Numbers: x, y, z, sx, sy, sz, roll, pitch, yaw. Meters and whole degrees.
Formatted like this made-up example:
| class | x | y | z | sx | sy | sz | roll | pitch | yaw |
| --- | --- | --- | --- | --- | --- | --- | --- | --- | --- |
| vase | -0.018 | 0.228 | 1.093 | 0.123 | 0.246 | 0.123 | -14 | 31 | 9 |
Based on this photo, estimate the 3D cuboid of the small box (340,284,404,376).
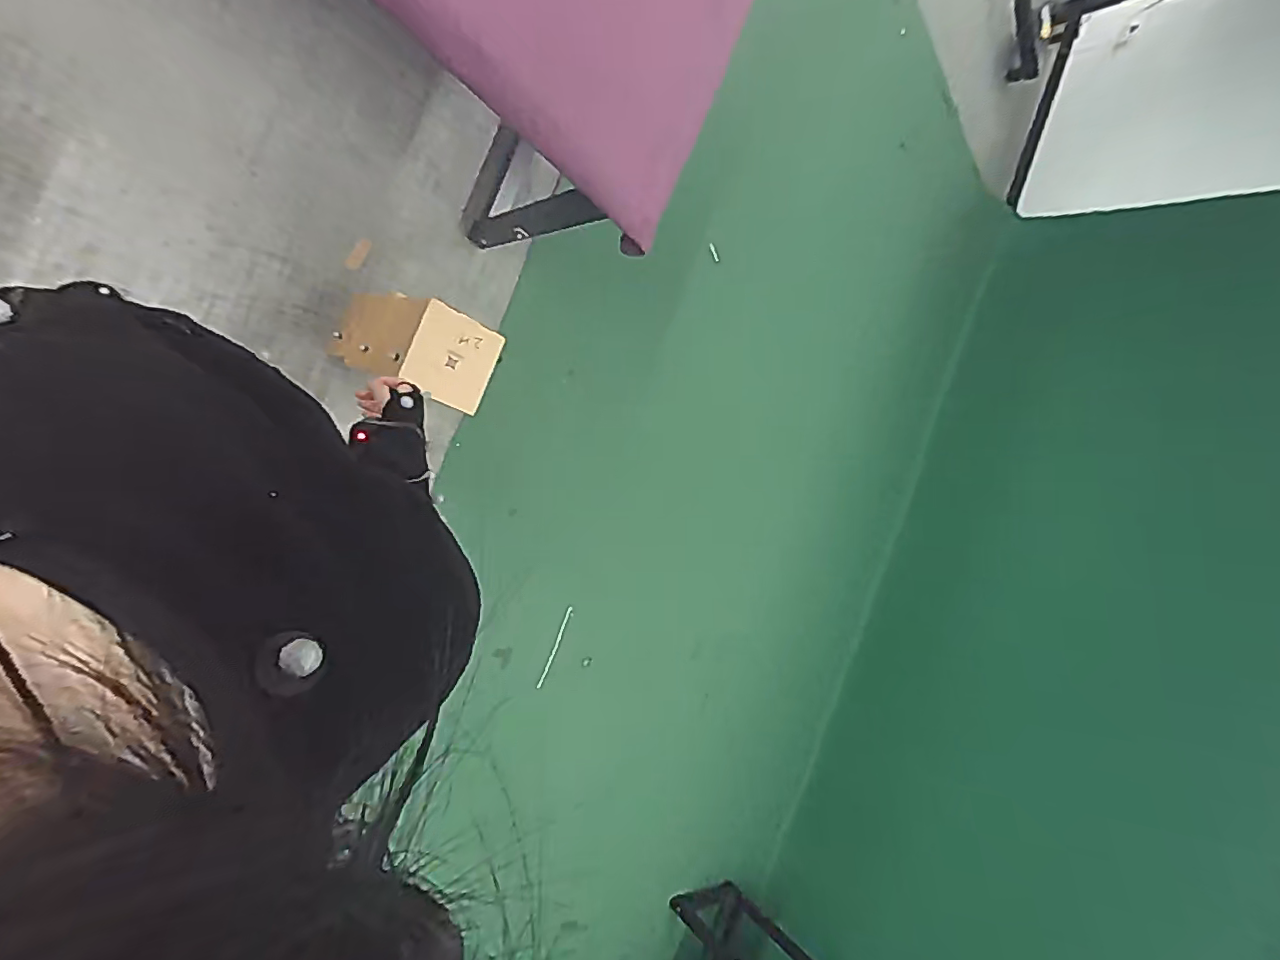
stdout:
| class | x | y | z | sx | sy | sz | roll | pitch | yaw |
| --- | --- | --- | --- | --- | --- | --- | --- | --- | --- |
| small box | -0.539 | -0.315 | 1.203 | 0.168 | 0.176 | 0.179 | 23 | 88 | -44 |

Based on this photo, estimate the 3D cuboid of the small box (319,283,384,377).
| class | x | y | z | sx | sy | sz | roll | pitch | yaw |
| --- | --- | --- | --- | --- | --- | --- | --- | --- | --- |
| small box | -0.647 | -0.355 | 1.316 | 0.179 | 0.176 | 0.168 | 27 | 84 | -44 |

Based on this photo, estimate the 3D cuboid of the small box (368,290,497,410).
| class | x | y | z | sx | sy | sz | roll | pitch | yaw |
| --- | --- | --- | --- | --- | --- | --- | --- | --- | --- |
| small box | -0.425 | -0.263 | 1.094 | 0.168 | 0.176 | 0.179 | 24 | 87 | -45 |
